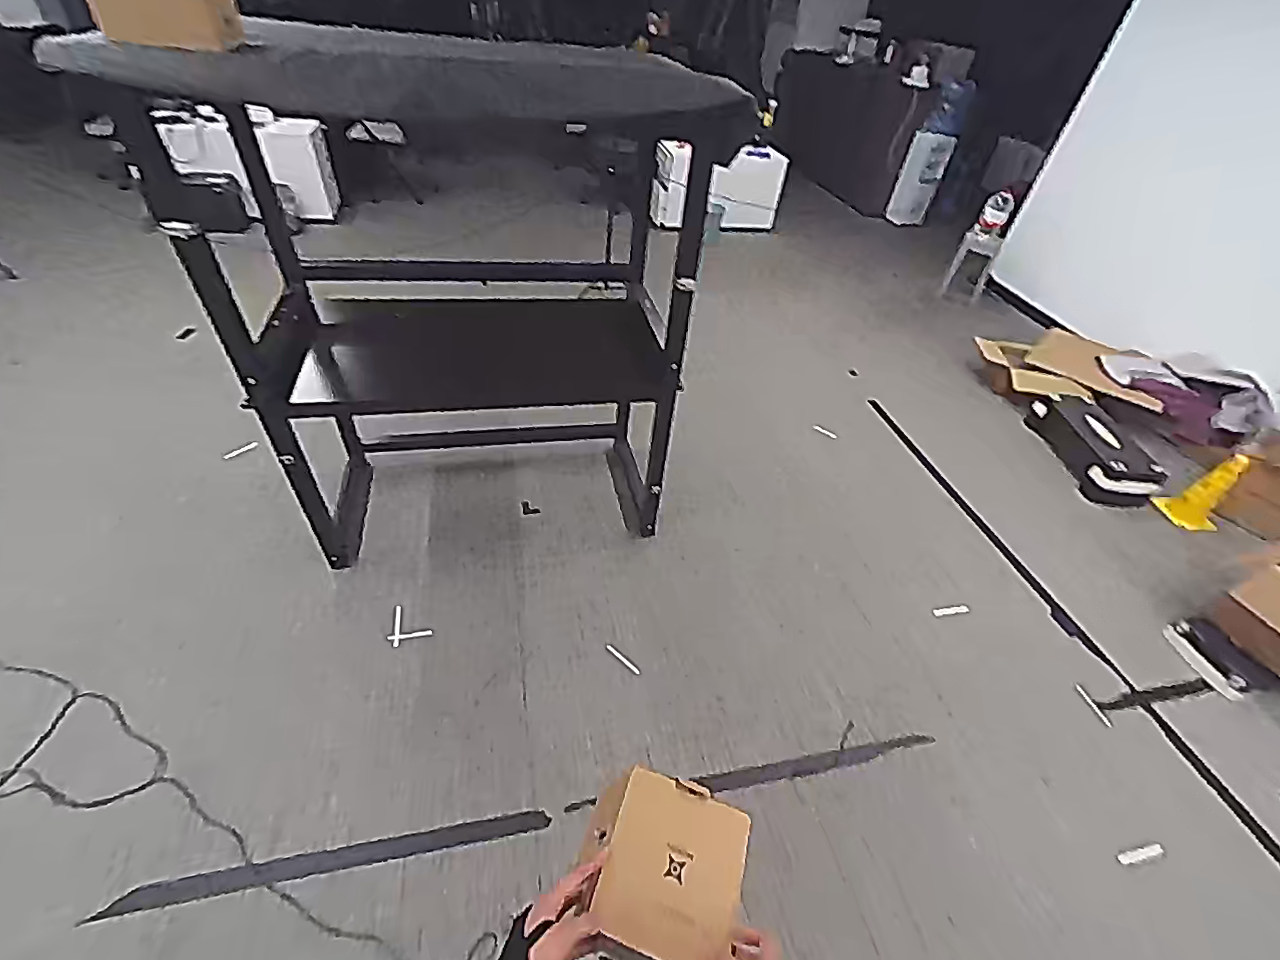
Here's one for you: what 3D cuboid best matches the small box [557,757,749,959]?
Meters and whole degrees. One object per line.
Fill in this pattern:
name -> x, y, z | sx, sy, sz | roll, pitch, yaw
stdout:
small box -> 0.013, 0.486, 0.669 | 0.168, 0.176, 0.179 | 26, 43, 0
